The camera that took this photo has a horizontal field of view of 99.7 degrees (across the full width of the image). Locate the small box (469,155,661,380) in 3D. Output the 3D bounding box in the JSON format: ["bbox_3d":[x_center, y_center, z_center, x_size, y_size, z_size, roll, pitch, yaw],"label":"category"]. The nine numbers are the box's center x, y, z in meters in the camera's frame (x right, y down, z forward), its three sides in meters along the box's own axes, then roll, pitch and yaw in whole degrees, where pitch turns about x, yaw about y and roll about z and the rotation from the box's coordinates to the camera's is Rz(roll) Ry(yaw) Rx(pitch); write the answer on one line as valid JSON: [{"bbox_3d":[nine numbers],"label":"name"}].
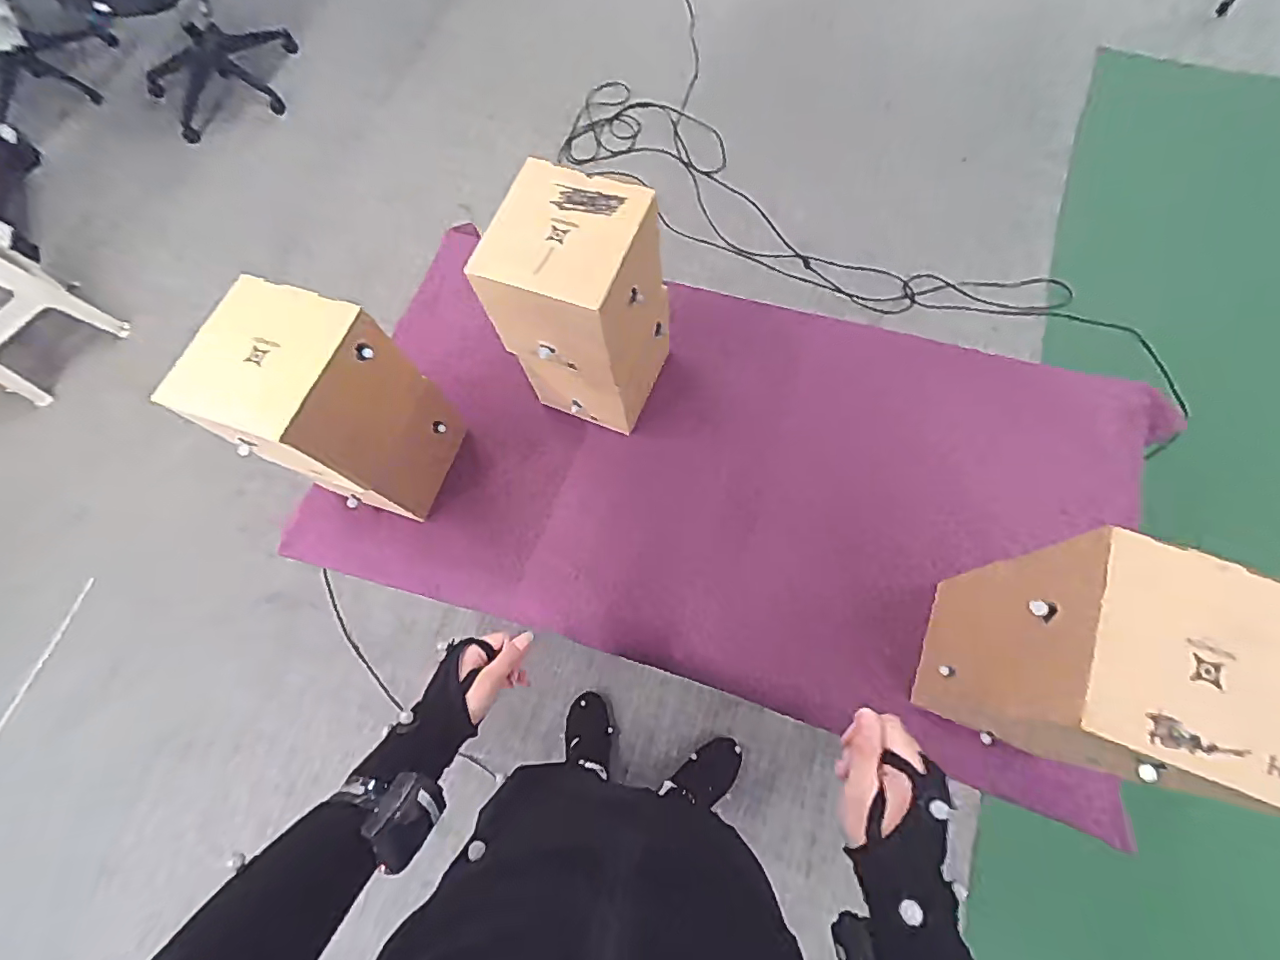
[{"bbox_3d":[-0.079,-0.257,0.680,0.168,0.176,0.179,20,75,10],"label":"small box"}]

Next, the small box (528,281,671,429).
[{"bbox_3d":[-0.061,-0.208,0.836,0.168,0.176,0.179,22,75,11],"label":"small box"}]

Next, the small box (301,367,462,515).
[{"bbox_3d":[-0.391,-0.069,0.812,0.168,0.176,0.179,17,73,10],"label":"small box"}]

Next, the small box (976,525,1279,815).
[{"bbox_3d":[0.445,0.168,0.497,0.168,0.176,0.179,21,73,12],"label":"small box"}]

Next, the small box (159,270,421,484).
[{"bbox_3d":[-0.400,-0.115,0.657,0.168,0.176,0.179,17,71,10],"label":"small box"}]
